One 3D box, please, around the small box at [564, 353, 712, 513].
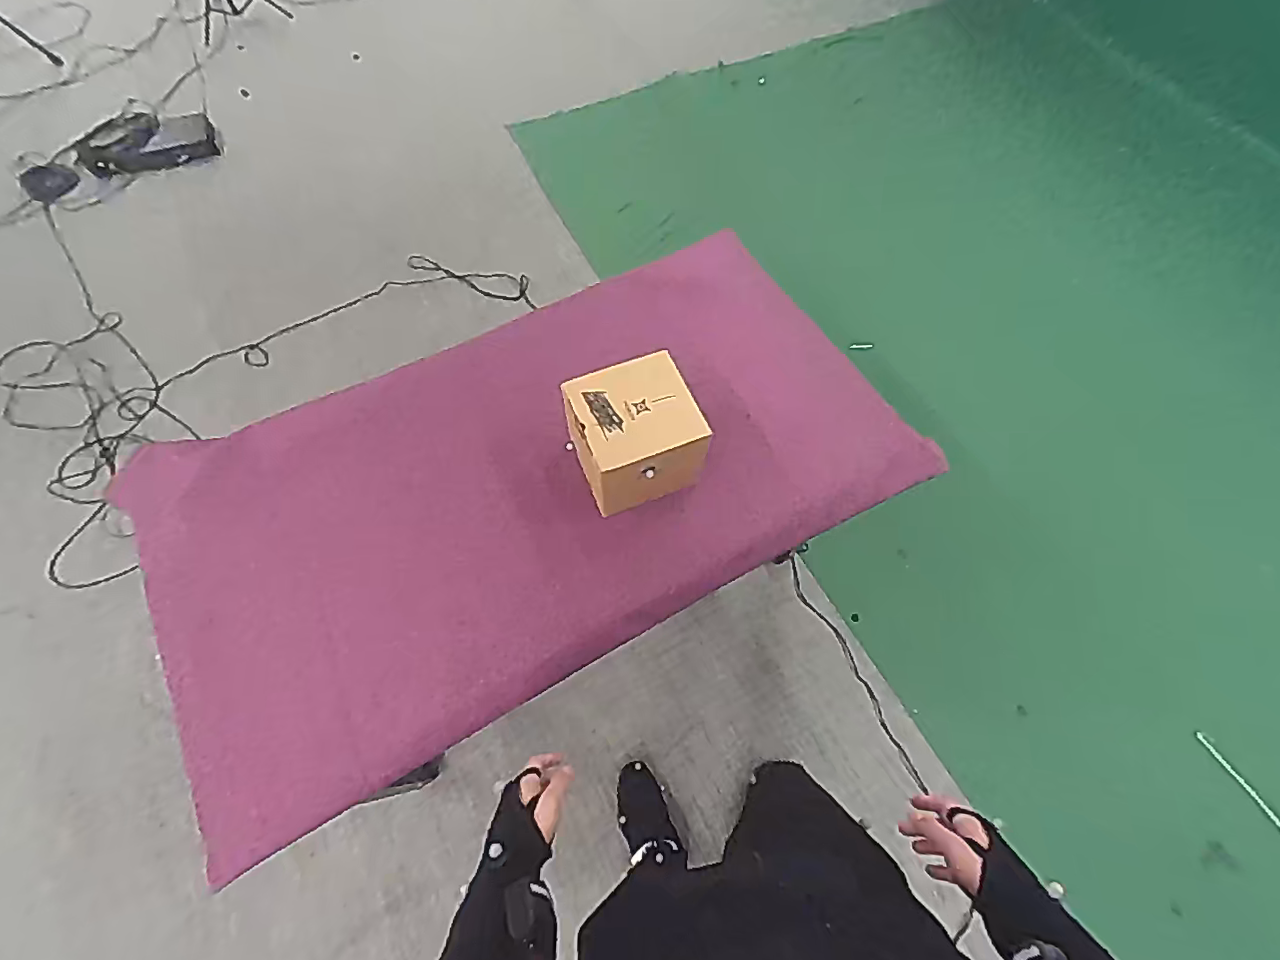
[{"bbox_3d":[-0.007,-0.068,0.861,0.179,0.176,0.168,-19,67,-12],"label":"small box"}]
